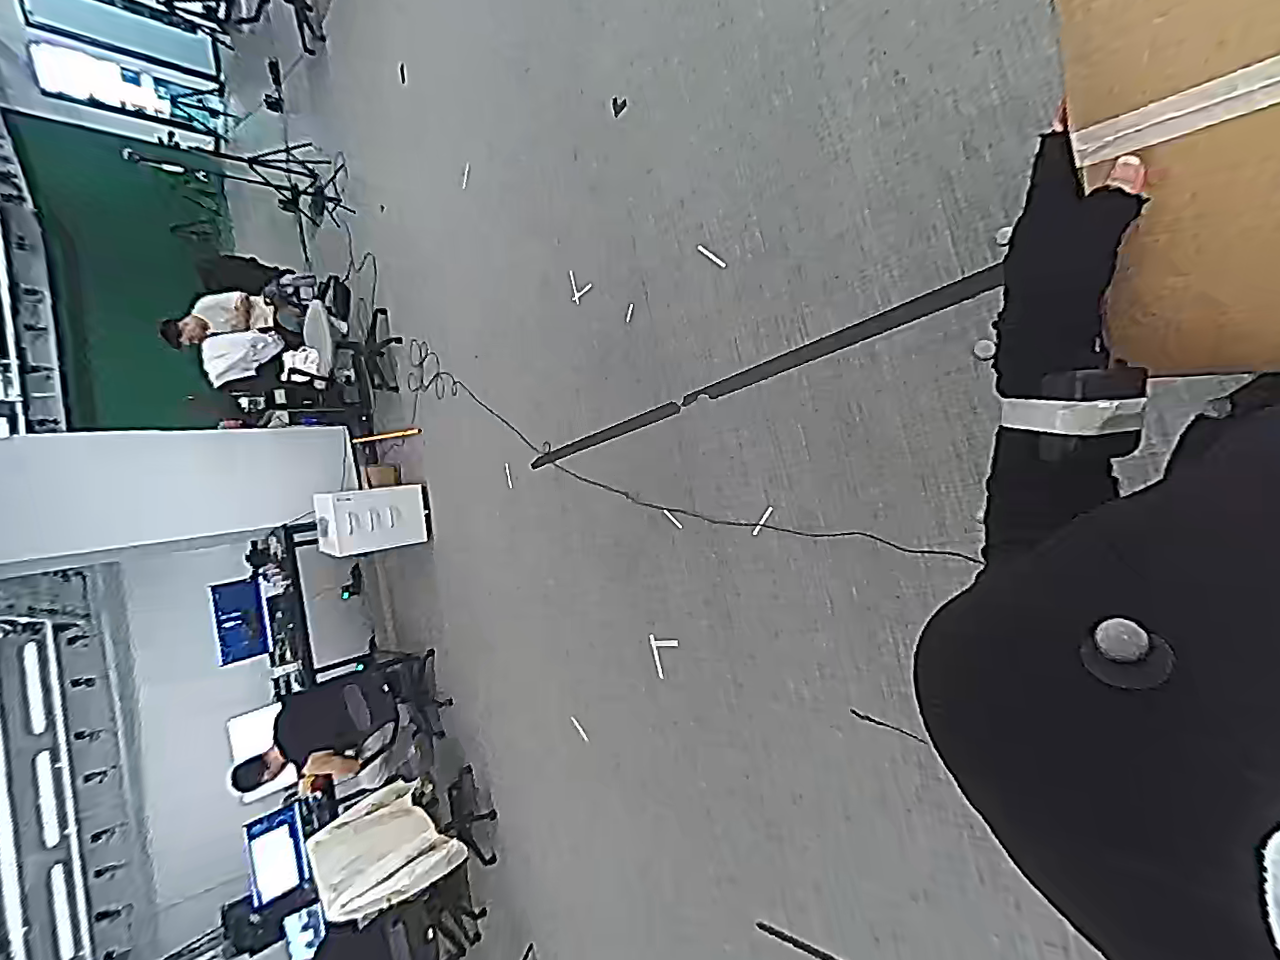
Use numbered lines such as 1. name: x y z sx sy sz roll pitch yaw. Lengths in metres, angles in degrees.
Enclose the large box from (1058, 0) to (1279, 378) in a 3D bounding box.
1. large box: 0.486 -0.263 0.228 0.408 0.320 0.320 11 133 58
